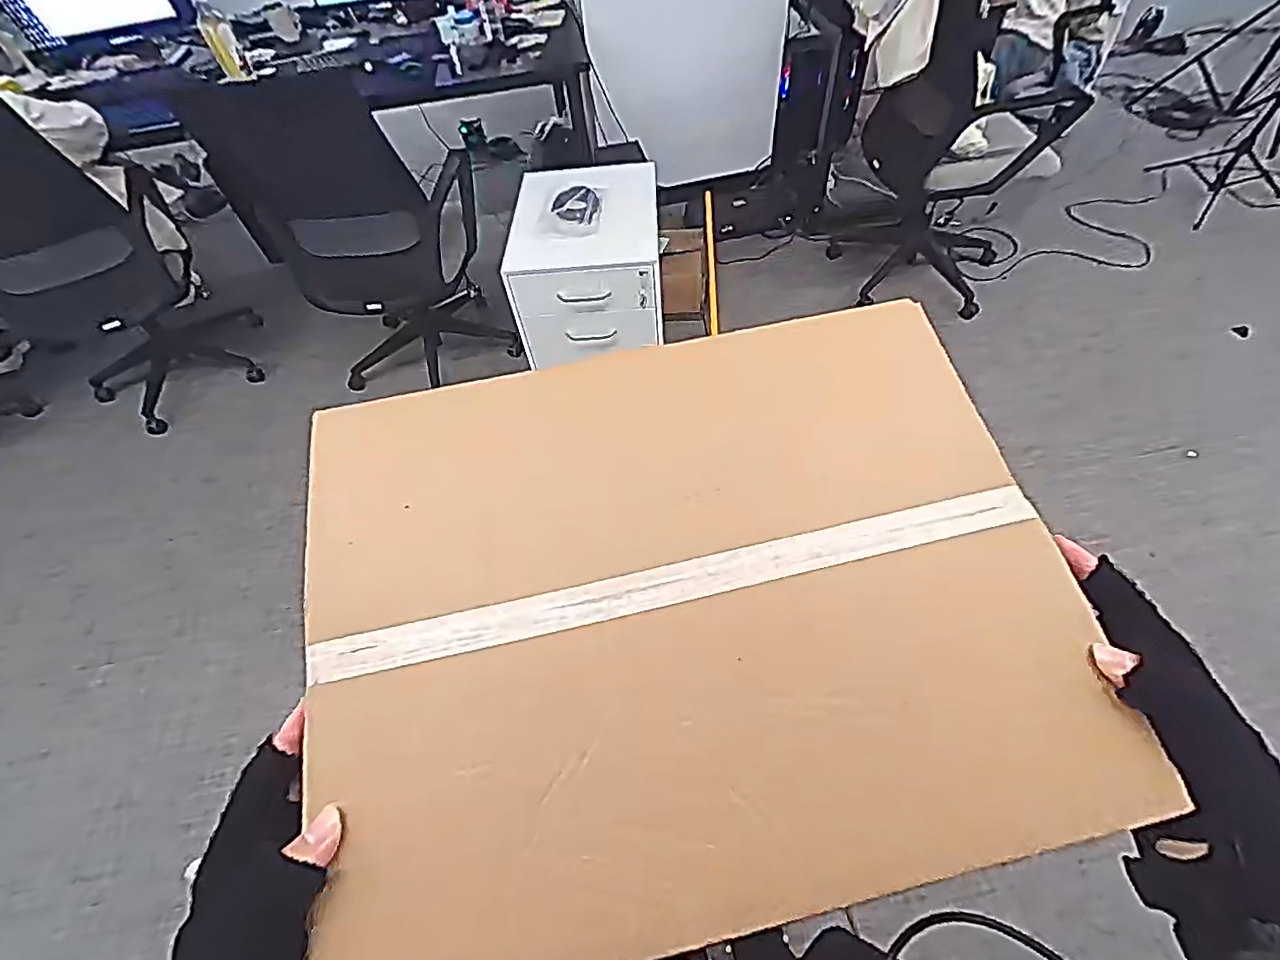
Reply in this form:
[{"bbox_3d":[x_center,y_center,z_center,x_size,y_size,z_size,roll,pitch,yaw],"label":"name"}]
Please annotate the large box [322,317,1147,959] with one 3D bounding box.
[{"bbox_3d":[0.028,0.123,0.442,0.408,0.320,0.320,-13,66,-4],"label":"large box"}]
